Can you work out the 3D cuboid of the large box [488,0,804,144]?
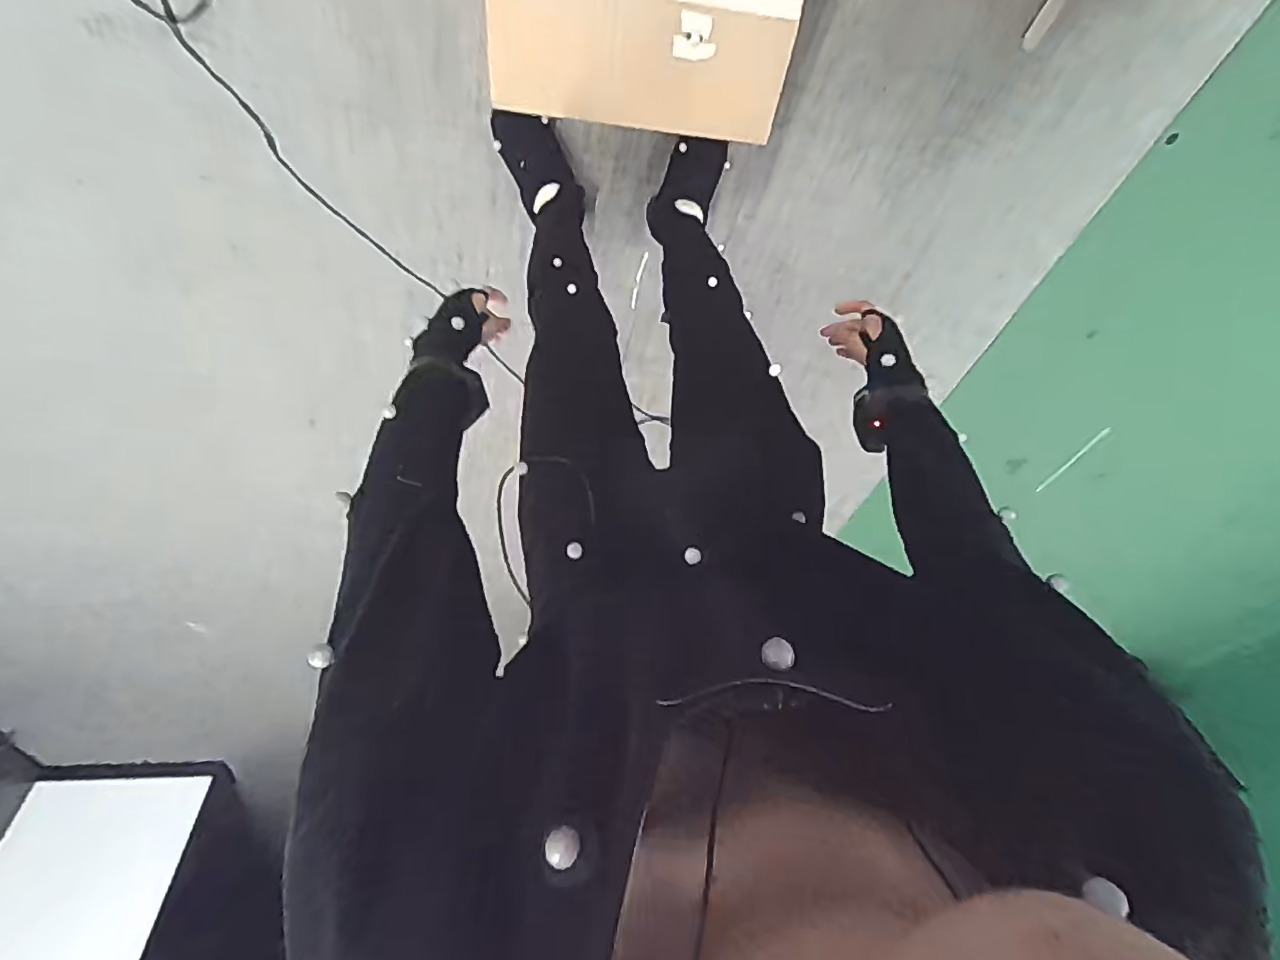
[{"bbox_3d":[-0.004,-0.711,0.771,0.408,0.320,0.320,1,134,-10],"label":"large box"}]
